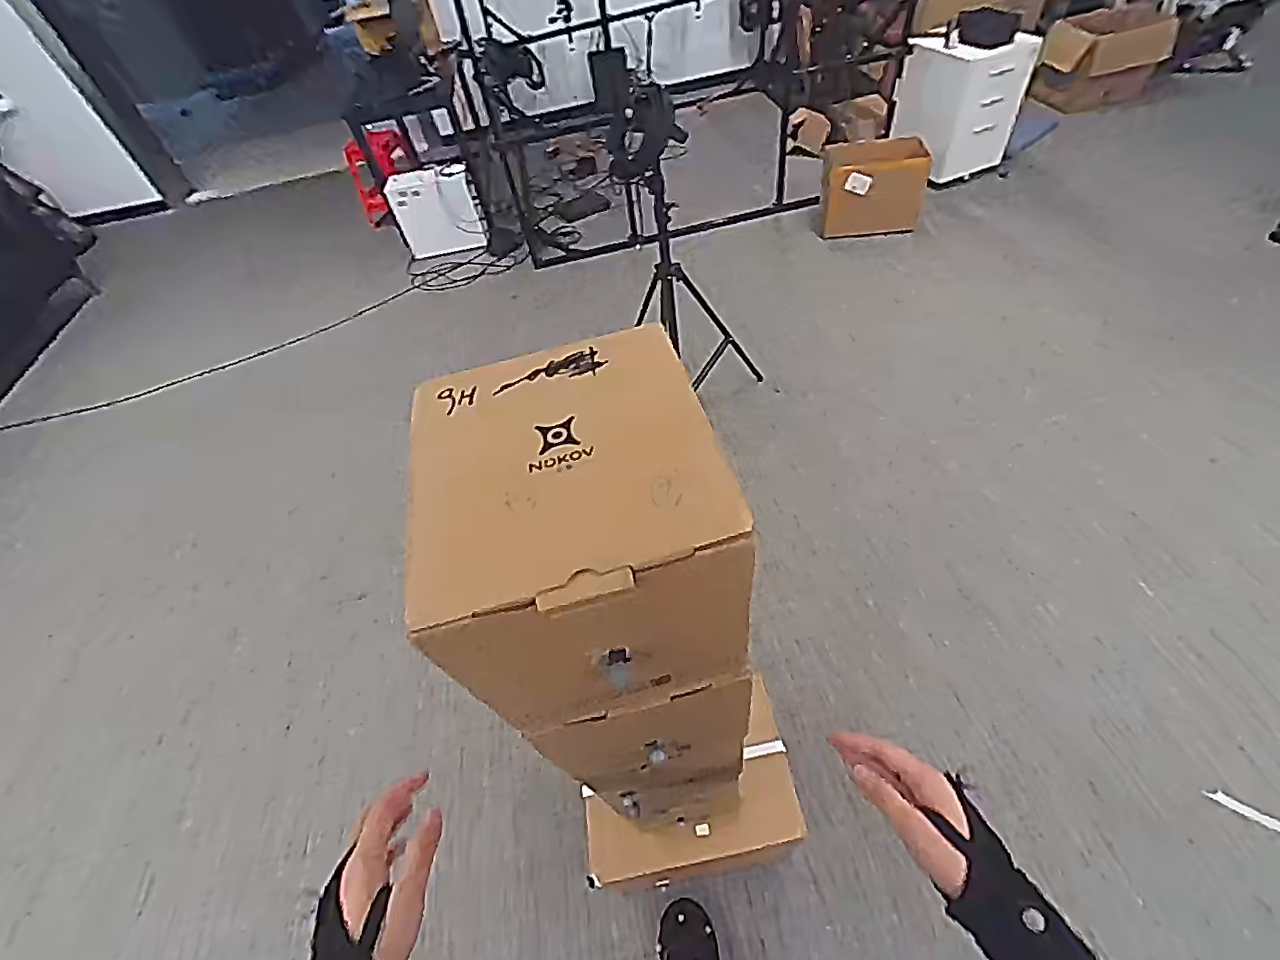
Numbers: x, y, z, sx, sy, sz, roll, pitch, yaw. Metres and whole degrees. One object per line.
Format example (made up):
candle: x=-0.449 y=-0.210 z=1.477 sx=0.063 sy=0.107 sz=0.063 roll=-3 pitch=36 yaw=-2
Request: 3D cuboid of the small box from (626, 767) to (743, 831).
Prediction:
small box: x=0.059 y=0.438 z=0.868 sx=0.168 sy=0.176 sz=0.179 roll=-14 pitch=51 yaw=-1

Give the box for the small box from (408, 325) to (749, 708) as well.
small box: x=-0.034 y=0.034 z=0.359 sx=0.168 sy=0.176 sz=0.179 roll=-15 pitch=52 yaw=-2

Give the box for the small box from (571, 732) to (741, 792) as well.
small box: x=0.015 y=0.237 z=0.612 sx=0.168 sy=0.176 sz=0.179 roll=-12 pitch=50 yaw=0

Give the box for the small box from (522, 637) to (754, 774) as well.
small box: x=-0.007 y=0.136 z=0.484 sx=0.168 sy=0.176 sz=0.179 roll=-15 pitch=52 yaw=-1
